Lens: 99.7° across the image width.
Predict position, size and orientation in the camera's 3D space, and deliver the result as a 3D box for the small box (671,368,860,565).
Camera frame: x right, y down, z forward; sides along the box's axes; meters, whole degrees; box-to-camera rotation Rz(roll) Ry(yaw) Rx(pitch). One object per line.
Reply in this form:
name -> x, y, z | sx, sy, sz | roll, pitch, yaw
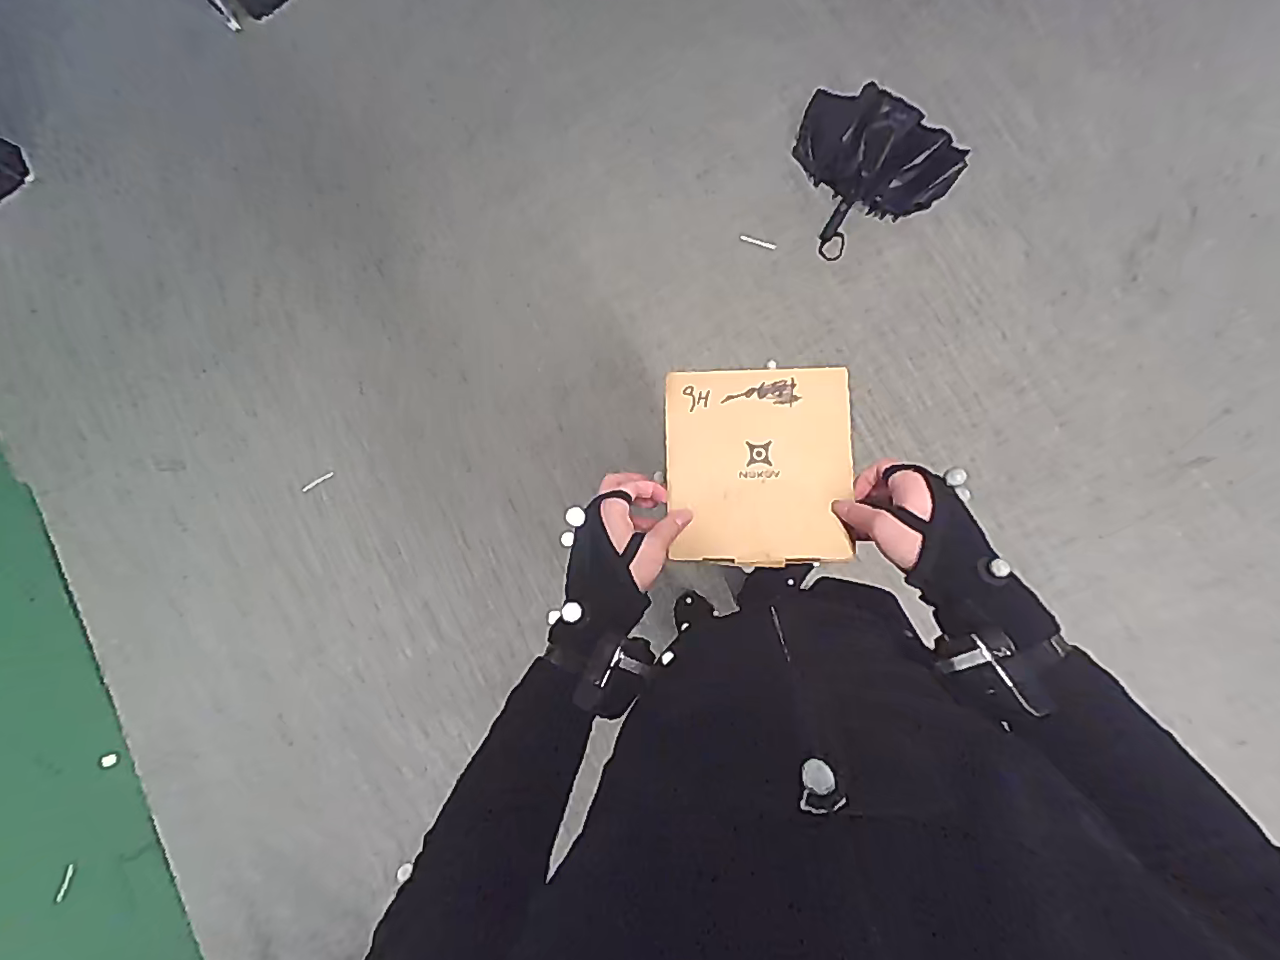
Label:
small box -> 0.117, -0.007, 0.560 | 0.168, 0.176, 0.179 | -1, 85, 4
